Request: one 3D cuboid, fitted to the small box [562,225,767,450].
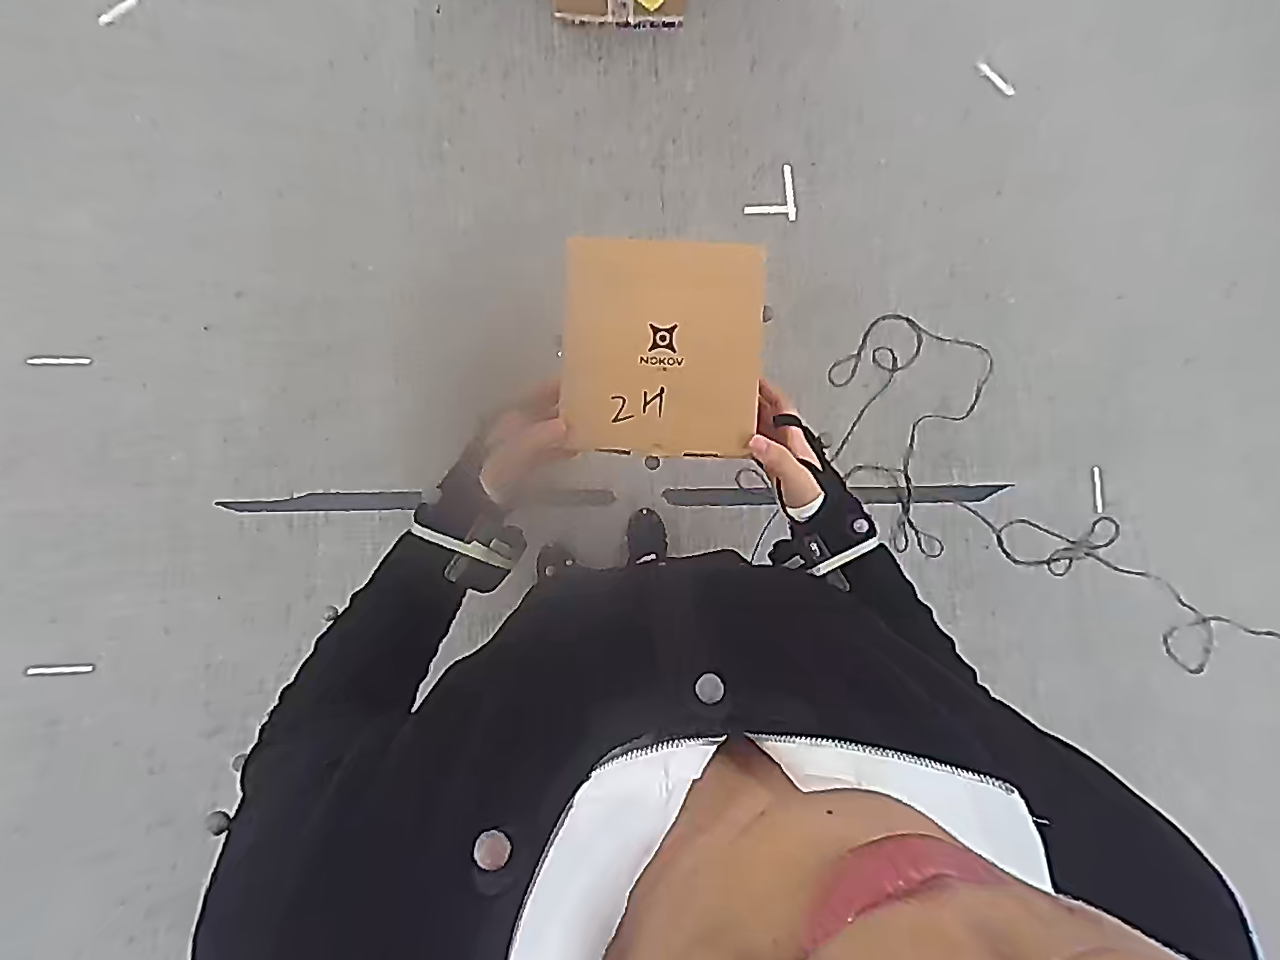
[{"bbox_3d":[0.019,-0.121,0.526,0.168,0.176,0.179,2,93,0],"label":"small box"}]
